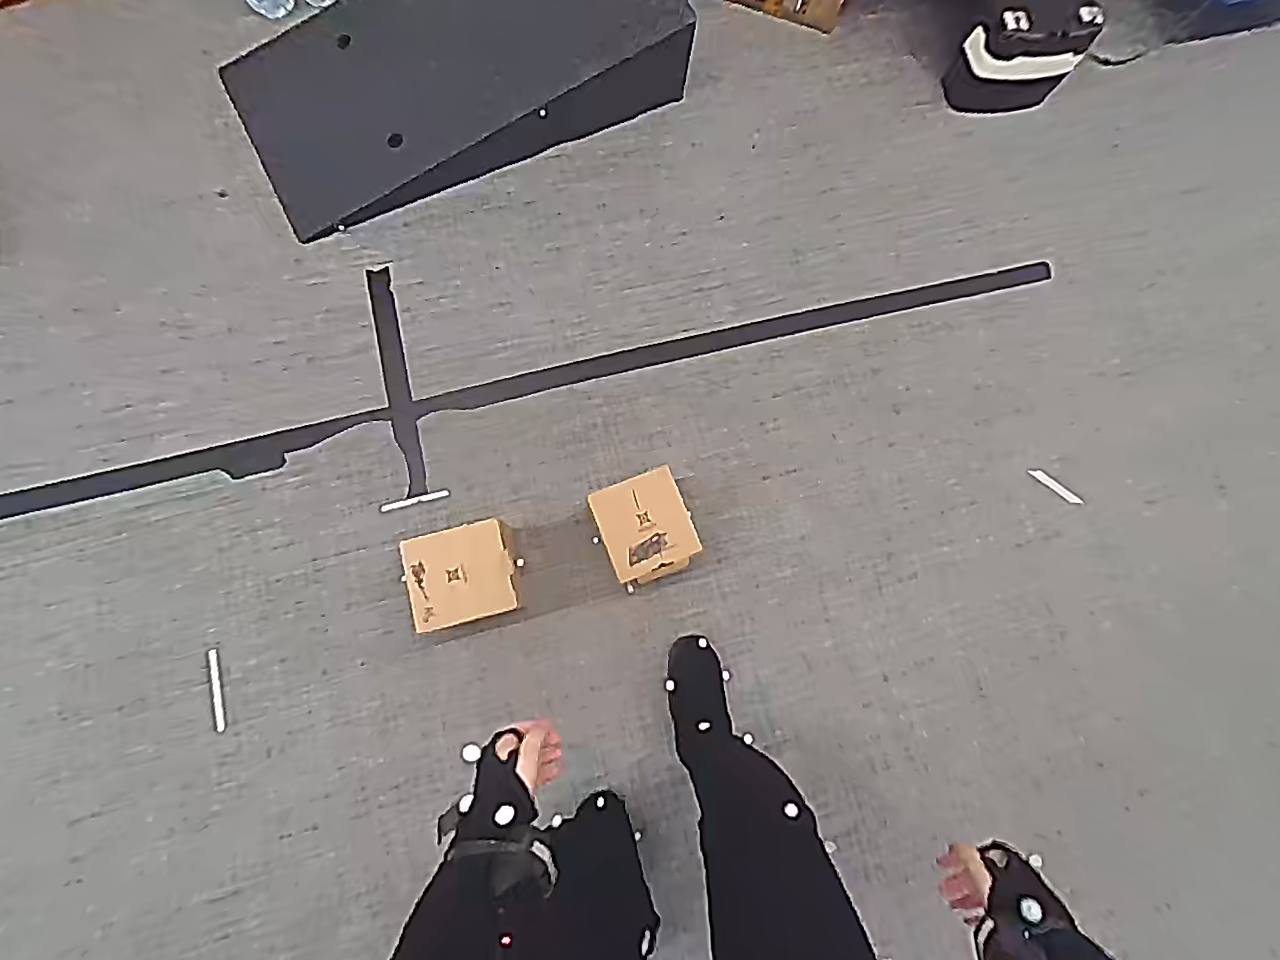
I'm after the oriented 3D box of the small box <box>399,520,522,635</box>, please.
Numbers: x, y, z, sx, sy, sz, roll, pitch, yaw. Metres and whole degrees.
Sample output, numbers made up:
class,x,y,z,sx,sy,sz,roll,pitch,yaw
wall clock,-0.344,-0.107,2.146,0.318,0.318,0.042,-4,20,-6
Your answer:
class,x,y,z,sx,sy,sz,roll,pitch,yaw
small box,-0.320,0.178,1.001,0.179,0.176,0.168,-13,81,-8

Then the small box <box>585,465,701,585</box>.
class,x,y,z,sx,sy,sz,roll,pitch,yaw
small box,0.001,0.092,1.048,0.168,0.176,0.179,-20,81,-9
